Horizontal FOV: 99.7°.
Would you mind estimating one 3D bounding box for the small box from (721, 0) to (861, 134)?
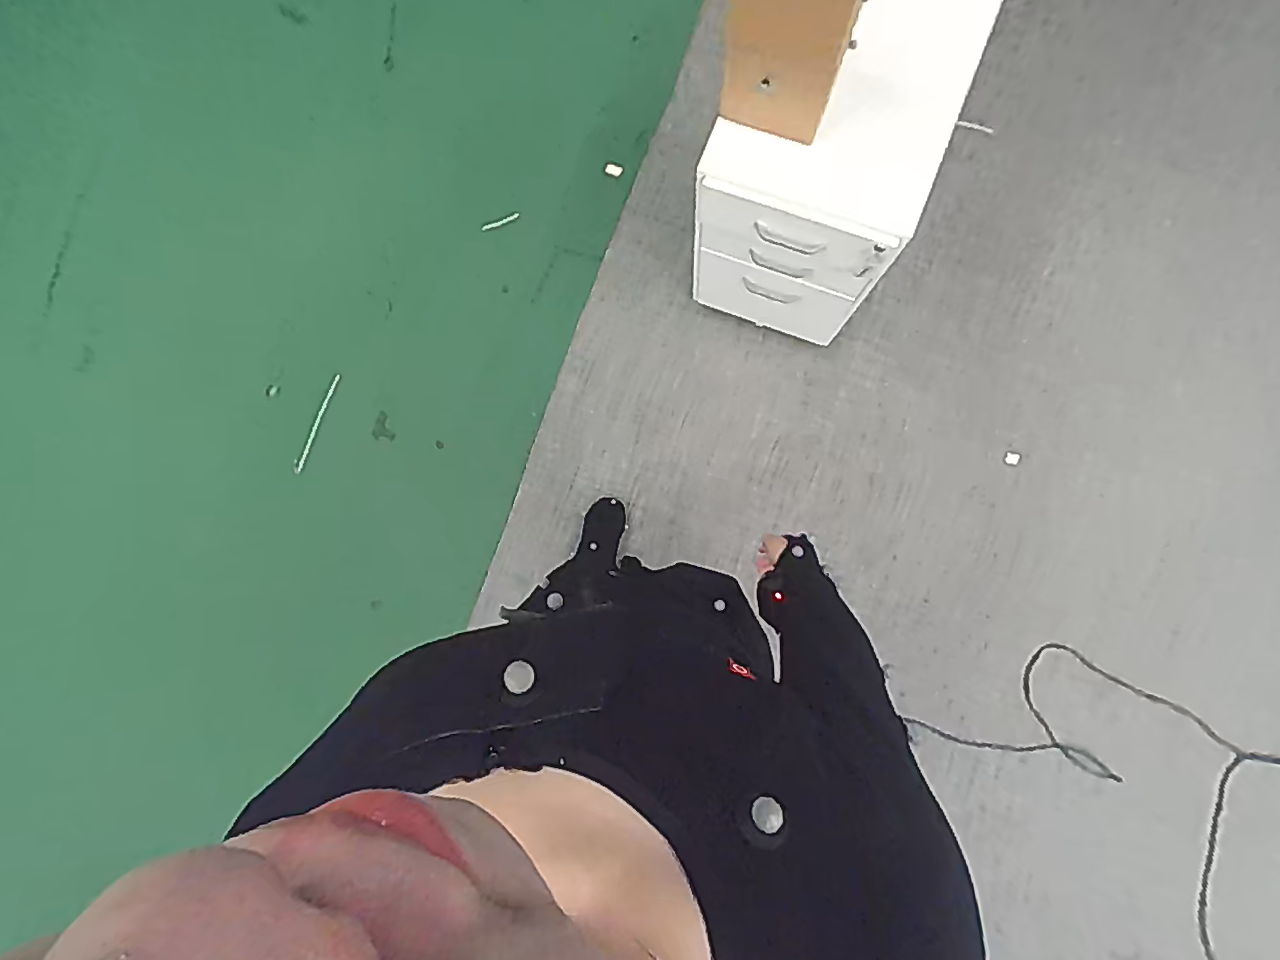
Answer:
[{"bbox_3d":[0.241,-0.709,0.882,0.179,0.176,0.168,20,88,6],"label":"small box"}]

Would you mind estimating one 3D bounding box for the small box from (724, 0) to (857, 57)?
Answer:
[{"bbox_3d":[0.222,-0.718,0.719,0.179,0.176,0.168,21,87,5],"label":"small box"}]
